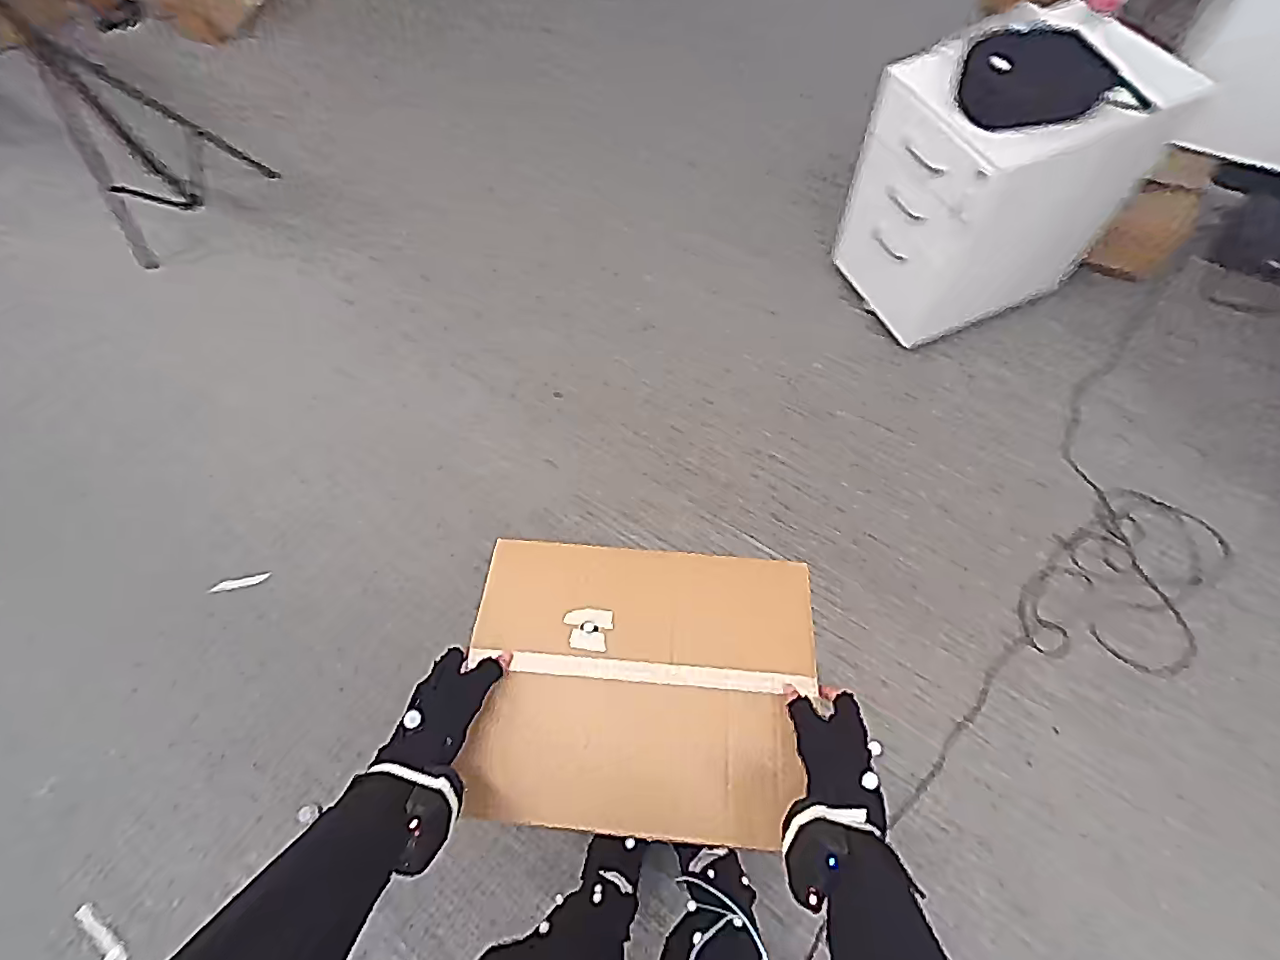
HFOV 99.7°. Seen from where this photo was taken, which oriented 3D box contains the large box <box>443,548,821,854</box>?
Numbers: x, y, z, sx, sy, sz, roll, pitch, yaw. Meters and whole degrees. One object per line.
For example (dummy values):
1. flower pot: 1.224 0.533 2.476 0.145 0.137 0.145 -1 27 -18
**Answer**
1. large box: 0.005 0.312 0.763 0.408 0.320 0.320 5 58 4
